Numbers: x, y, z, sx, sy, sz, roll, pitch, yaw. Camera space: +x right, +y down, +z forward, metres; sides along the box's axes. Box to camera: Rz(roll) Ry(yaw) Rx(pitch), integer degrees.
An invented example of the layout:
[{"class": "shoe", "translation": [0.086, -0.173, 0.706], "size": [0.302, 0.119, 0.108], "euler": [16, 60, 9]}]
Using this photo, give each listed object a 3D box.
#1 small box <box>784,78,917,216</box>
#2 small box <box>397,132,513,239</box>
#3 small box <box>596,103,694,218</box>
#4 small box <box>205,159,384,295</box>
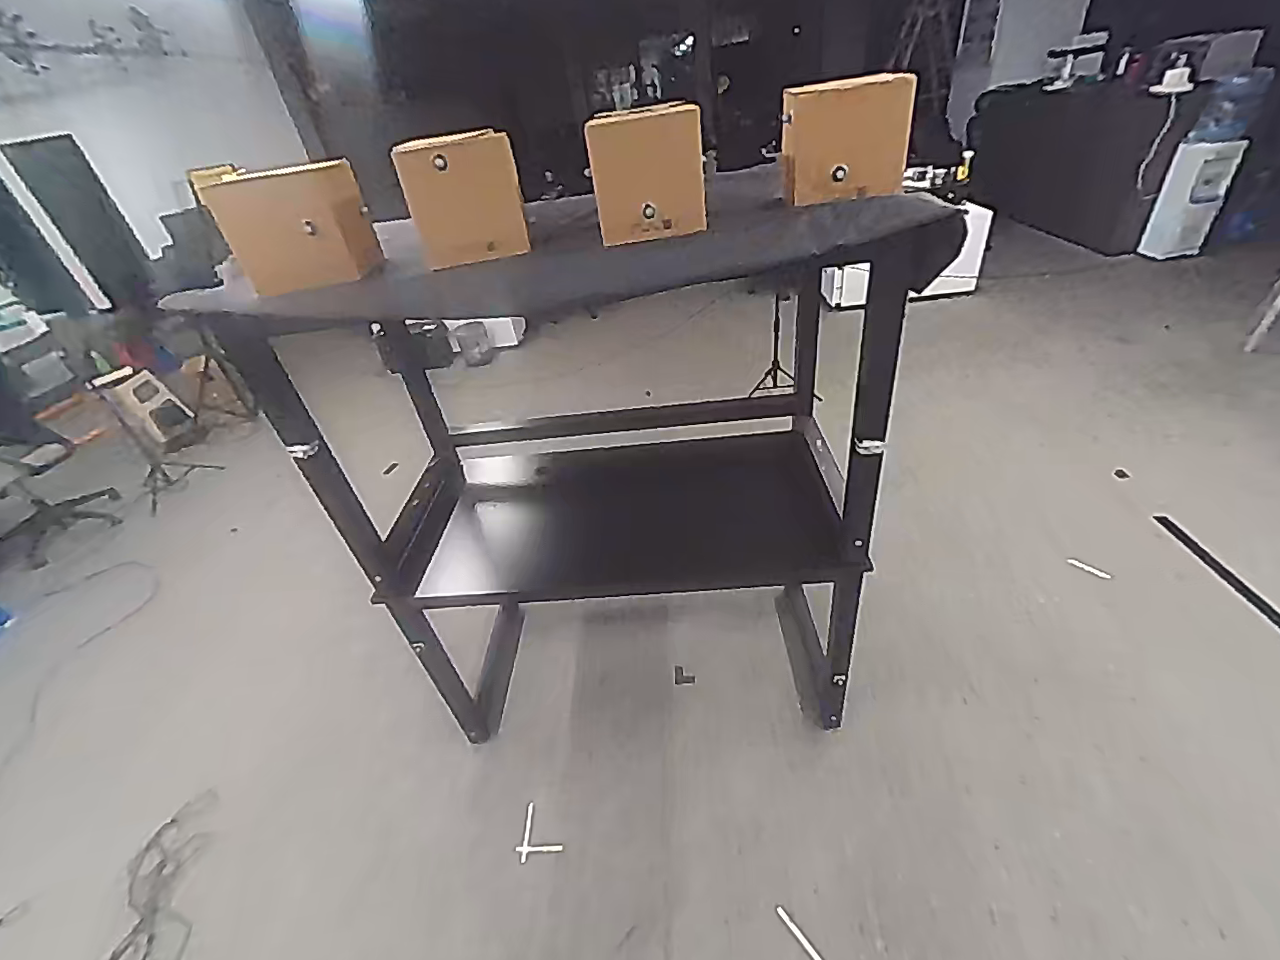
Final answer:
[{"class": "small box", "translation": [0.328, -0.542, 0.884], "size": [0.168, 0.176, 0.179], "euler": [-3, 37, 10]}, {"class": "small box", "translation": [-0.373, -0.616, 1.132], "size": [0.168, 0.176, 0.179], "euler": [-7, 37, 3]}, {"class": "small box", "translation": [0.013, -0.625, 1.065], "size": [0.168, 0.176, 0.179], "euler": [-6, 35, 3]}, {"class": "small box", "translation": [-0.563, -0.429, 0.915], "size": [0.179, 0.176, 0.168], "euler": [-10, 36, -3]}]
